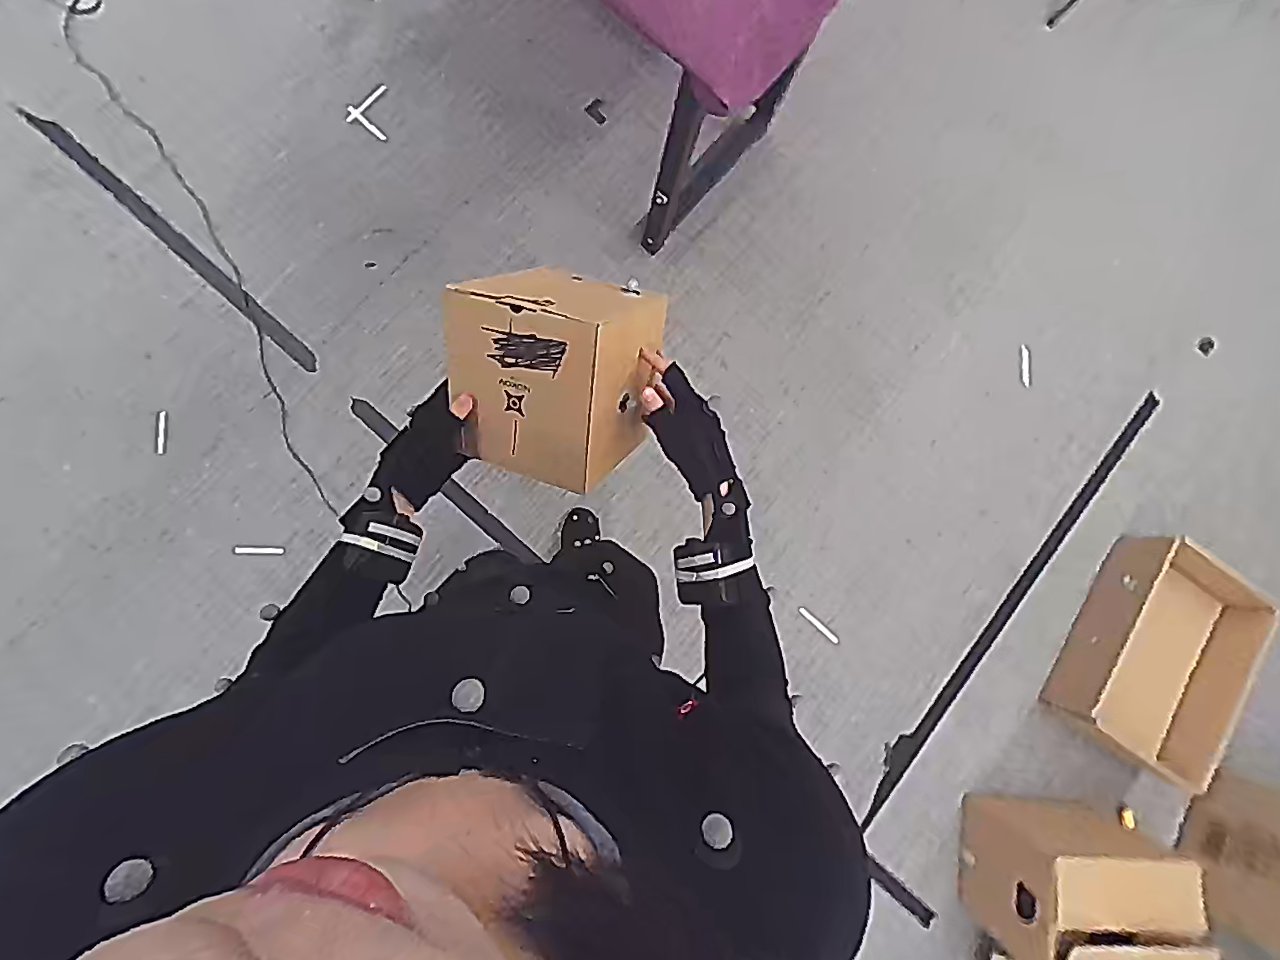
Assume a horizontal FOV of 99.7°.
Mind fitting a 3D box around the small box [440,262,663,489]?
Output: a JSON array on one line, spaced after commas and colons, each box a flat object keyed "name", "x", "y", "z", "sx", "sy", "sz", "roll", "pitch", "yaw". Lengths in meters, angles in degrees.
[{"name": "small box", "x": -0.085, "y": -0.123, "z": 0.573, "sx": 0.168, "sy": 0.176, "sz": 0.179, "roll": 18, "pitch": 123, "yaw": 17}]
